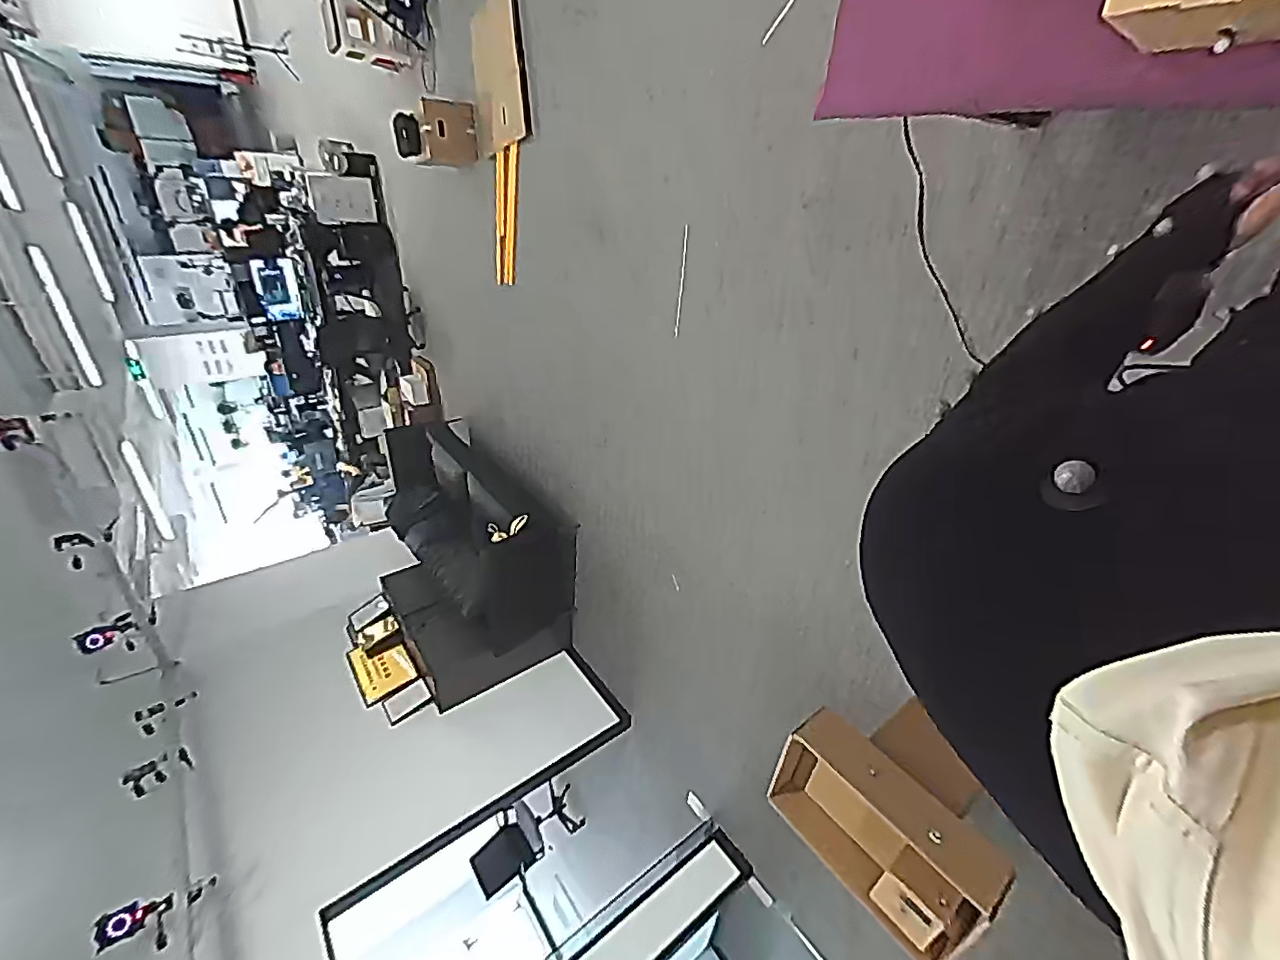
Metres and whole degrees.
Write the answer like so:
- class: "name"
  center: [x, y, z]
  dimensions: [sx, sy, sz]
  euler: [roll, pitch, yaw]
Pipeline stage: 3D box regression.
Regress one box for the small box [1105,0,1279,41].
- class: "small box"
  center: [0.569, -0.525, 0.479]
  dimensions: [0.168, 0.176, 0.179]
  euler: [35, 131, 42]
